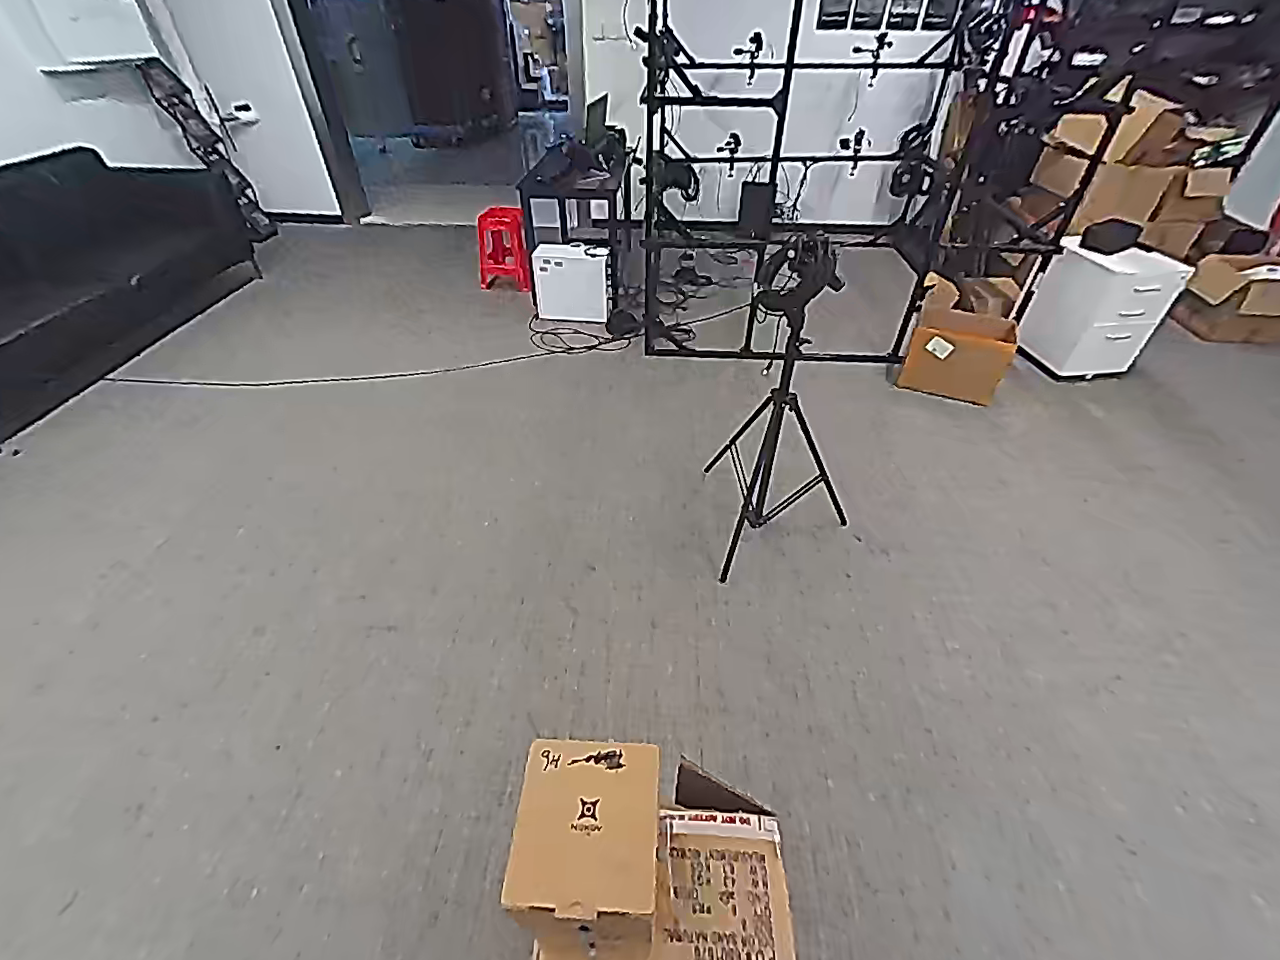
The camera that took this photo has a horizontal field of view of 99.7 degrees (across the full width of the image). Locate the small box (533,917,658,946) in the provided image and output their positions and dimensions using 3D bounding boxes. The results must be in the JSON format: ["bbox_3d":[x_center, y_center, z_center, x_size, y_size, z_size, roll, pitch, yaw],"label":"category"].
[{"bbox_3d":[-0.055,0.564,0.804,0.168,0.176,0.179,-1,43,3],"label":"small box"}]

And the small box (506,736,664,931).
[{"bbox_3d":[-0.055,0.449,0.686,0.168,0.176,0.179,1,44,3],"label":"small box"}]
